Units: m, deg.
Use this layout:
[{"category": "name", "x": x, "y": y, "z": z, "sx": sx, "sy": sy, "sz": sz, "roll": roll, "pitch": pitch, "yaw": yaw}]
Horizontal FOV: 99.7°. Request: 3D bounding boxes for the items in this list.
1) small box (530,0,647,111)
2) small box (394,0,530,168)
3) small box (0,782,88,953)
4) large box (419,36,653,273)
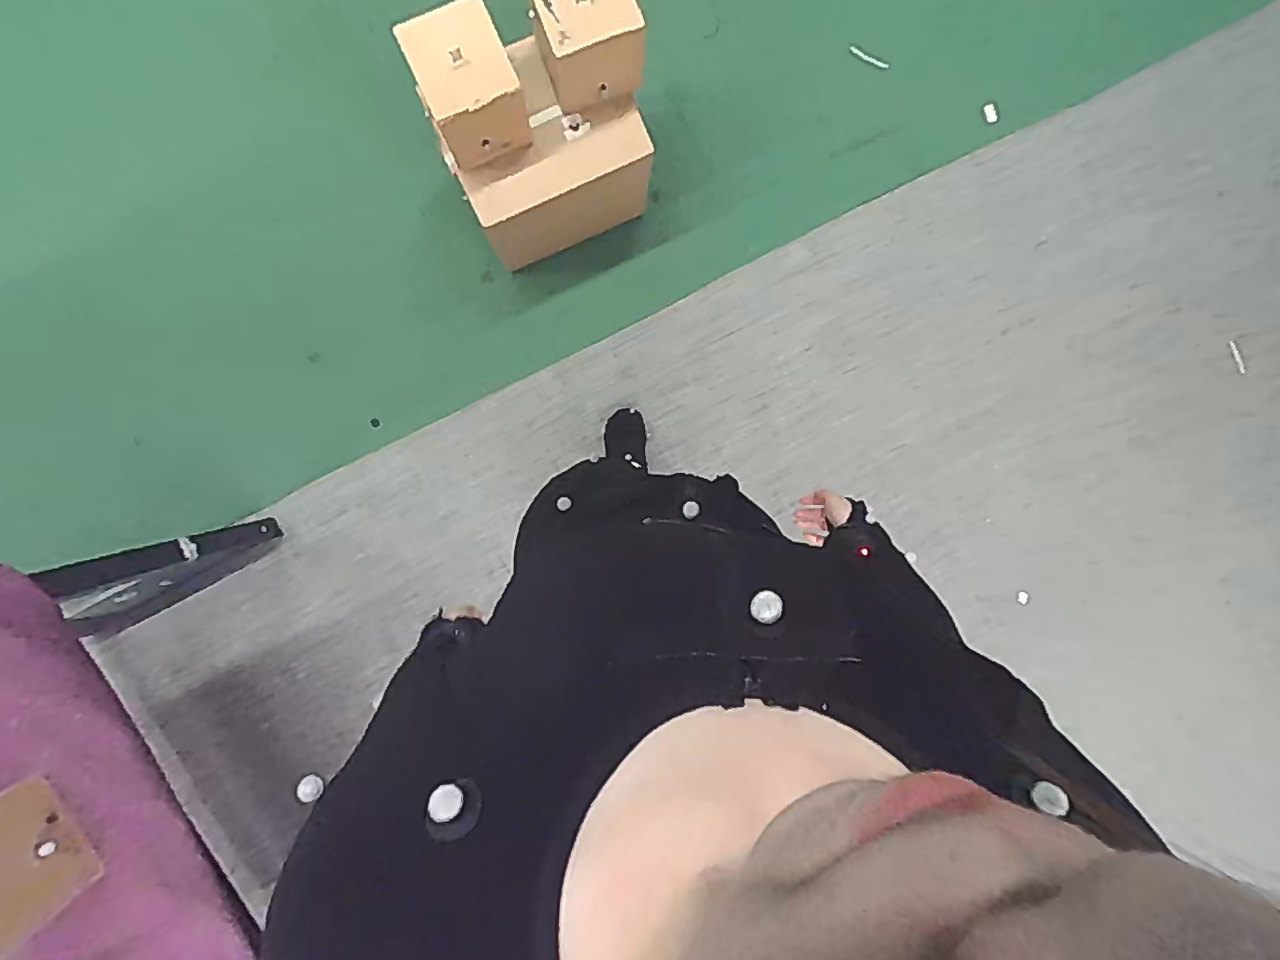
[{"category": "small box", "x": -0.101, "y": -0.849, "z": 1.024, "sx": 0.179, "sy": 0.176, "sz": 0.168, "roll": -21, "pitch": 94, "yaw": -2}, {"category": "small box", "x": -0.323, "y": -0.737, "z": 1.017, "sx": 0.168, "sy": 0.176, "sz": 0.179, "roll": -25, "pitch": 95, "yaw": -3}, {"category": "small box", "x": -0.842, "y": 0.508, "z": 0.640, "sx": 0.179, "sy": 0.176, "sz": 0.168, "roll": -27, "pitch": 95, "yaw": -2}, {"category": "large box", "x": -0.224, "y": -0.752, "z": 1.267, "sx": 0.408, "sy": 0.320, "sz": 0.320, "roll": -26, "pitch": 96, "yaw": -3}]
